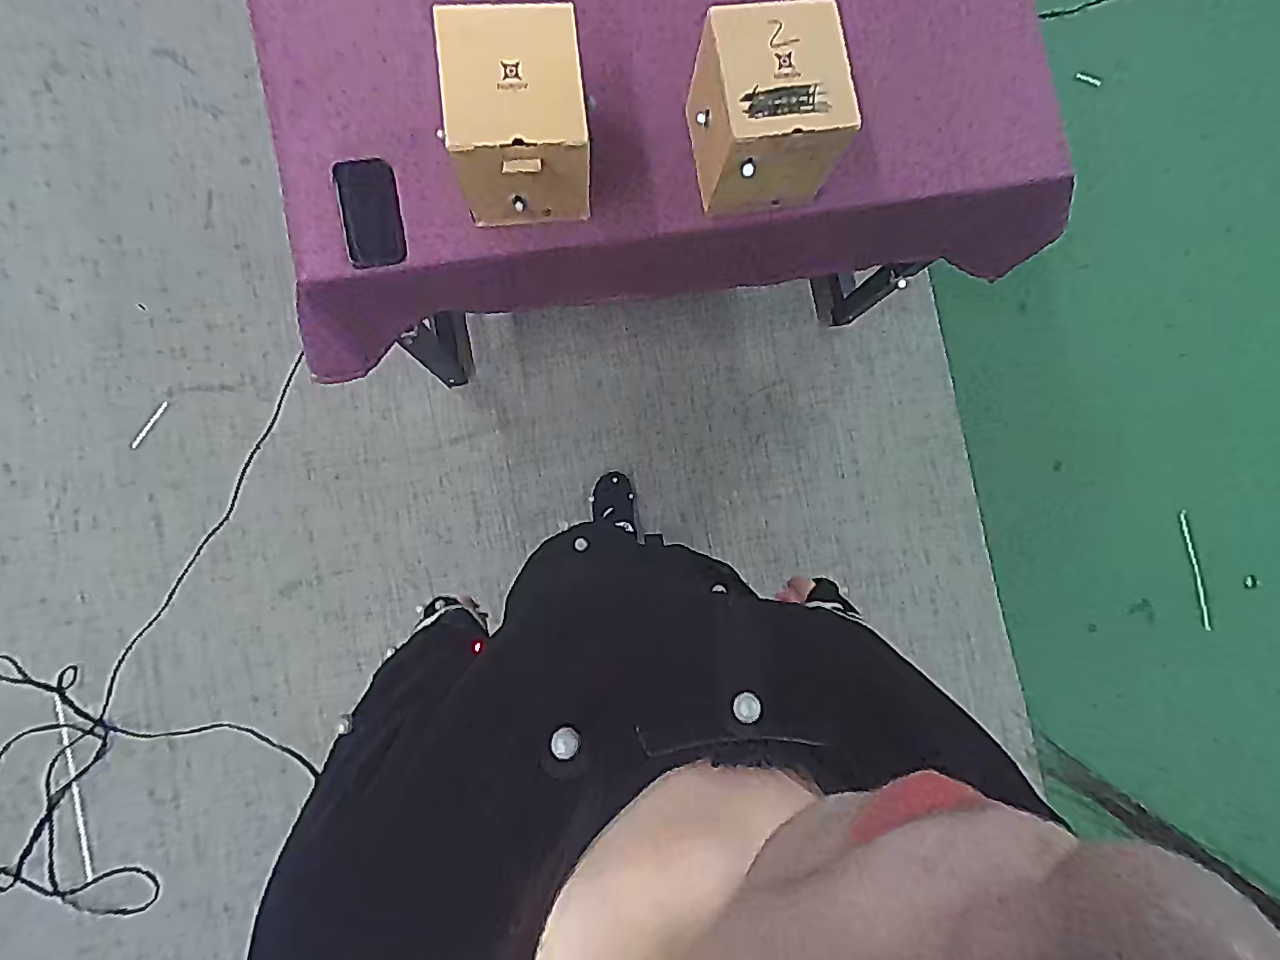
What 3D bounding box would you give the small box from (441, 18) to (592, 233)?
[{"bbox_3d":[-0.155,-0.455,0.715,0.168,0.176,0.179,-6,87,-7],"label":"small box"}]
